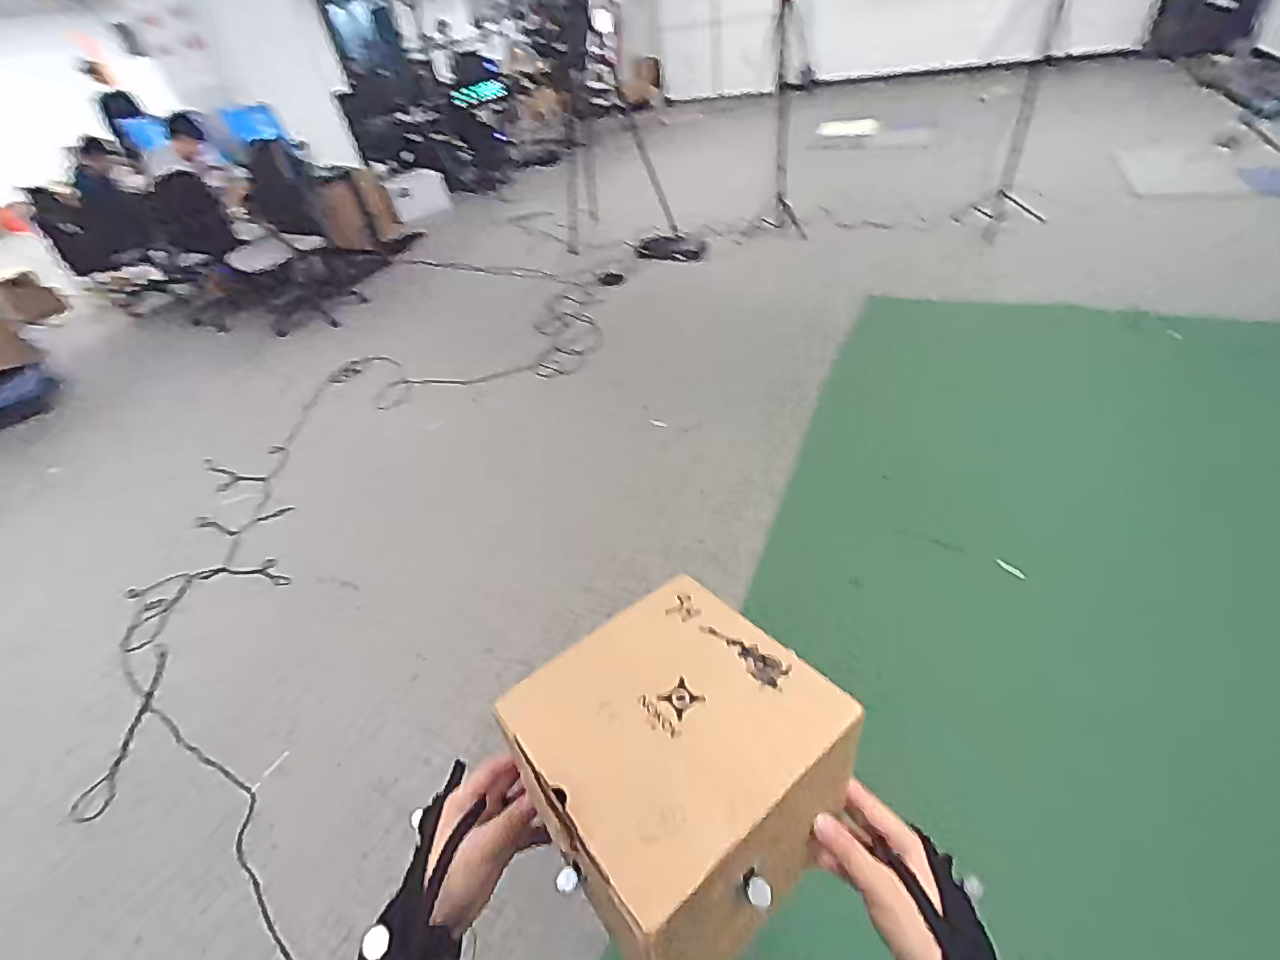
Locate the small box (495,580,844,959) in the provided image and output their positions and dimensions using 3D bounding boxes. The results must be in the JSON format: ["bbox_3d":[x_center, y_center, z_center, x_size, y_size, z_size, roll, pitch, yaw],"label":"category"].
[{"bbox_3d":[0.026,0.215,0.398,0.179,0.176,0.168,-29,40,-29],"label":"small box"}]
